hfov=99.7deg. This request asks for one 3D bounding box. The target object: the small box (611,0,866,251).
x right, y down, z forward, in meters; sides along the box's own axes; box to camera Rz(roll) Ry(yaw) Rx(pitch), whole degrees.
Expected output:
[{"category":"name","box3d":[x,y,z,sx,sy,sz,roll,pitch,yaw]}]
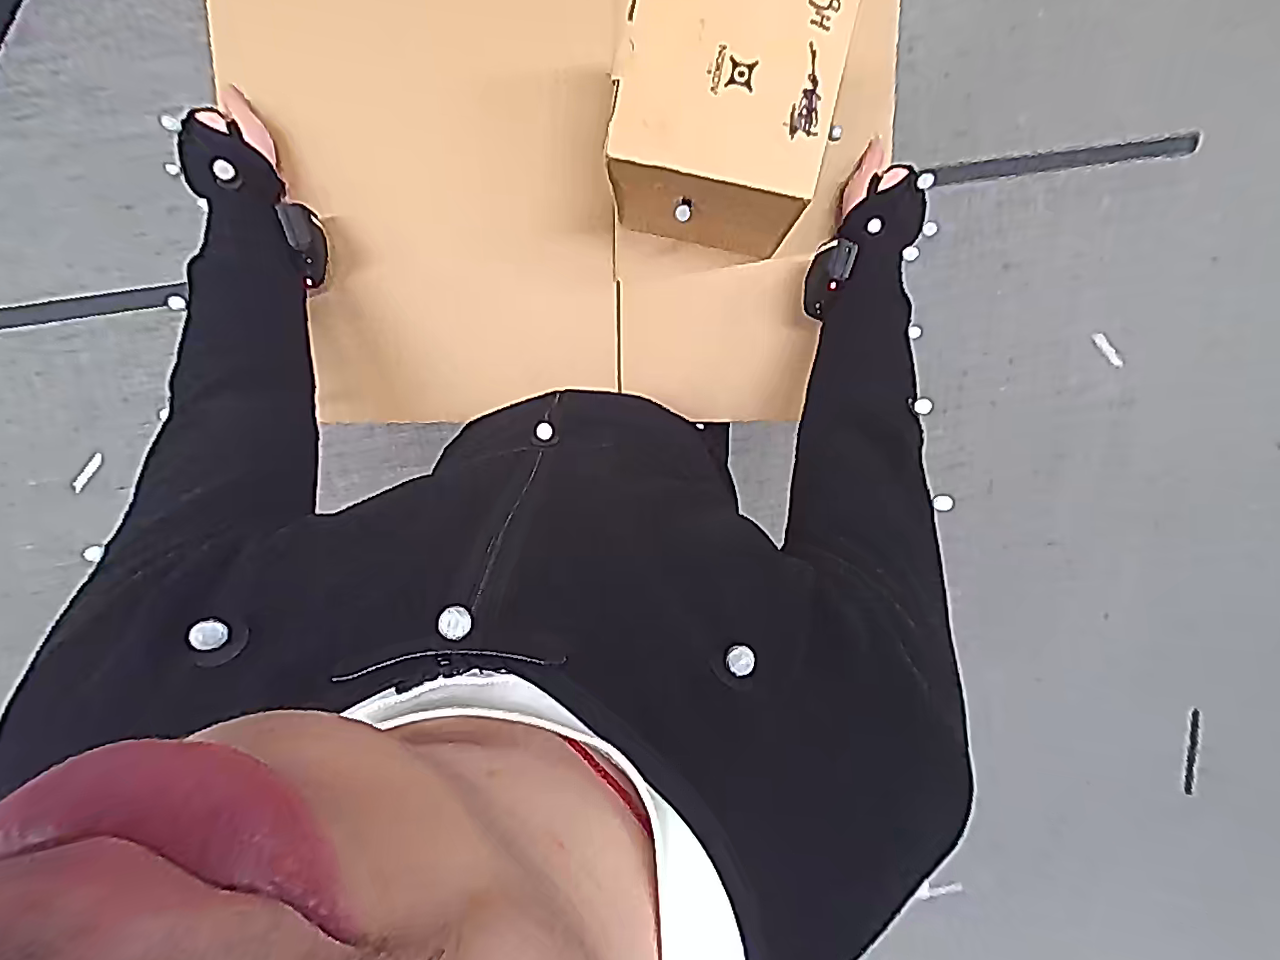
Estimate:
[{"category":"small box","box3d":[0.082,-0.337,0.514,0.179,0.176,0.168,13,97,1]}]
